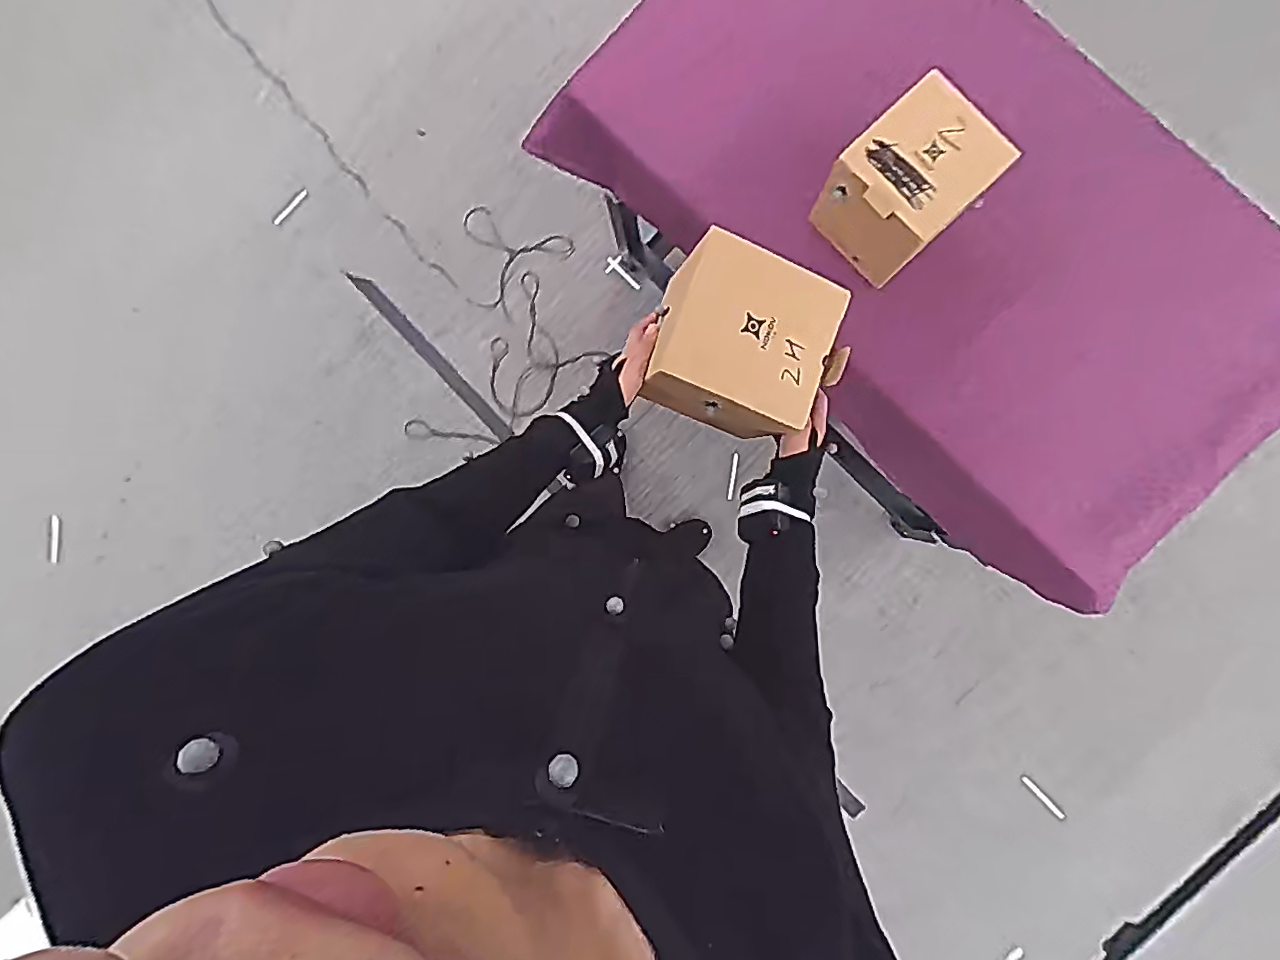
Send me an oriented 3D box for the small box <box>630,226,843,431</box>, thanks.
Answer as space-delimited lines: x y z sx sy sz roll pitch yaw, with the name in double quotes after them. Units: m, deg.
0.103 -0.163 0.655 0.179 0.176 0.168 20 87 -13 "small box"
